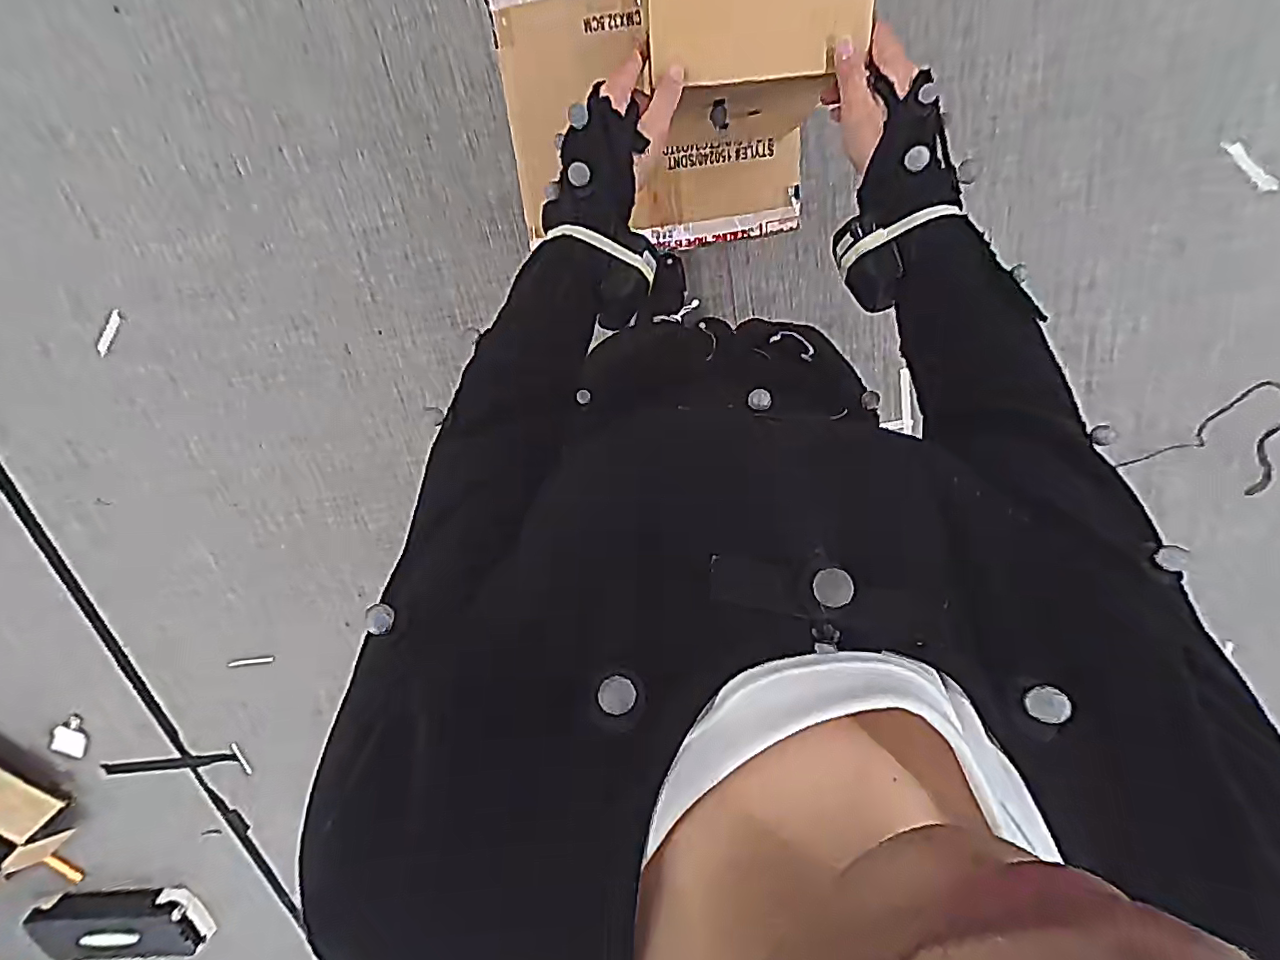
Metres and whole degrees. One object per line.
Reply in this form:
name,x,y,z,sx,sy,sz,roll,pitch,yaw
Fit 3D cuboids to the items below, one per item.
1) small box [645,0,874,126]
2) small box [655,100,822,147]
small box,0.087,-0.413,0.452,0.168,0.176,0.179,-4,113,3
small box,0.102,-0.491,0.614,0.179,0.176,0.168,-3,114,2
